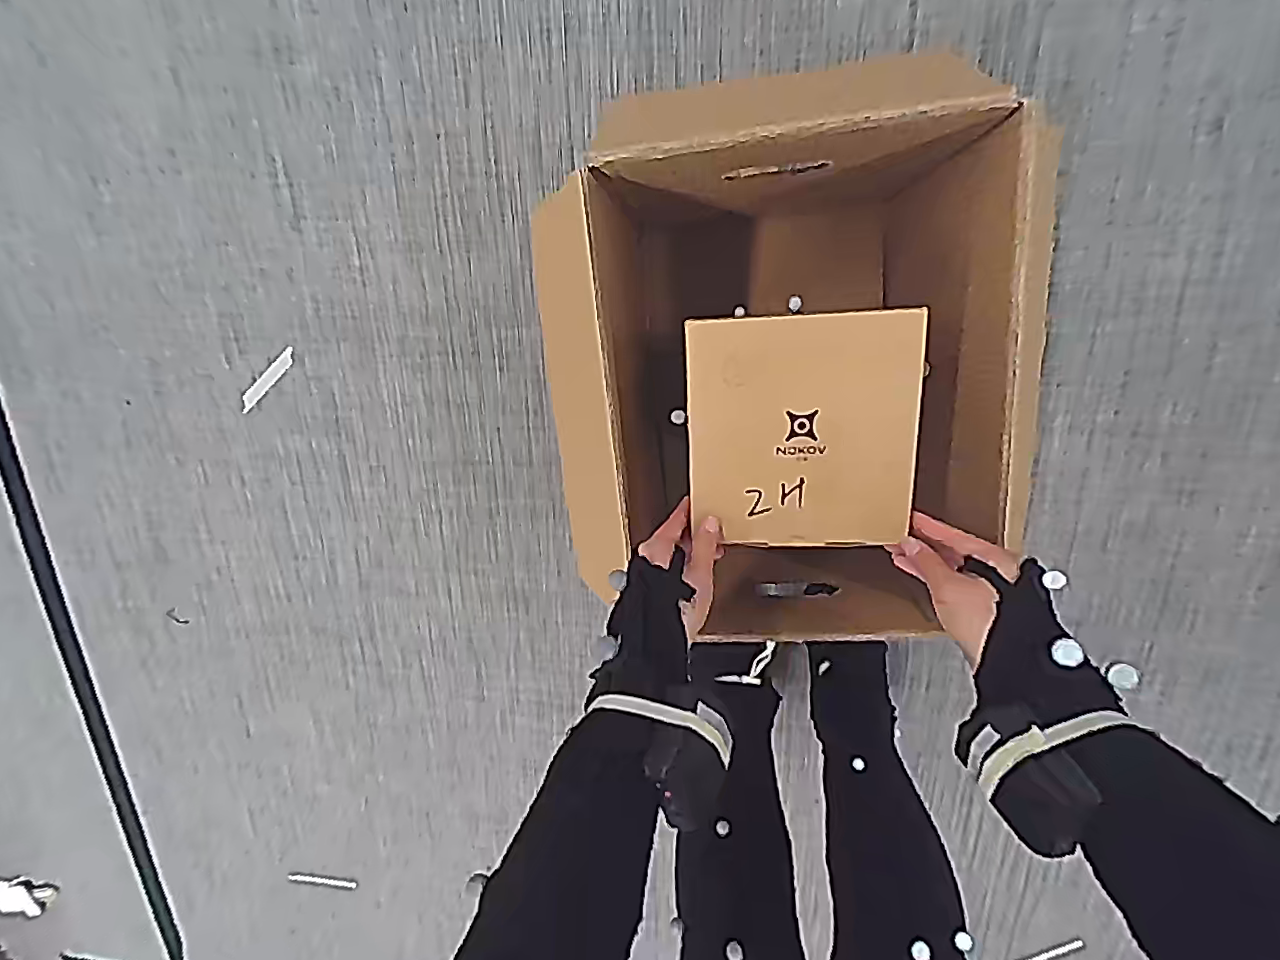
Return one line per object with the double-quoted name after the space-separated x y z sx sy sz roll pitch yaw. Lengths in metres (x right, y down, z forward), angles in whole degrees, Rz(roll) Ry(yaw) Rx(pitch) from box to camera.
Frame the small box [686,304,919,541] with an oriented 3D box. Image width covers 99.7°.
0.126 -0.057 0.480 0.168 0.176 0.179 -1 106 8 "small box"
